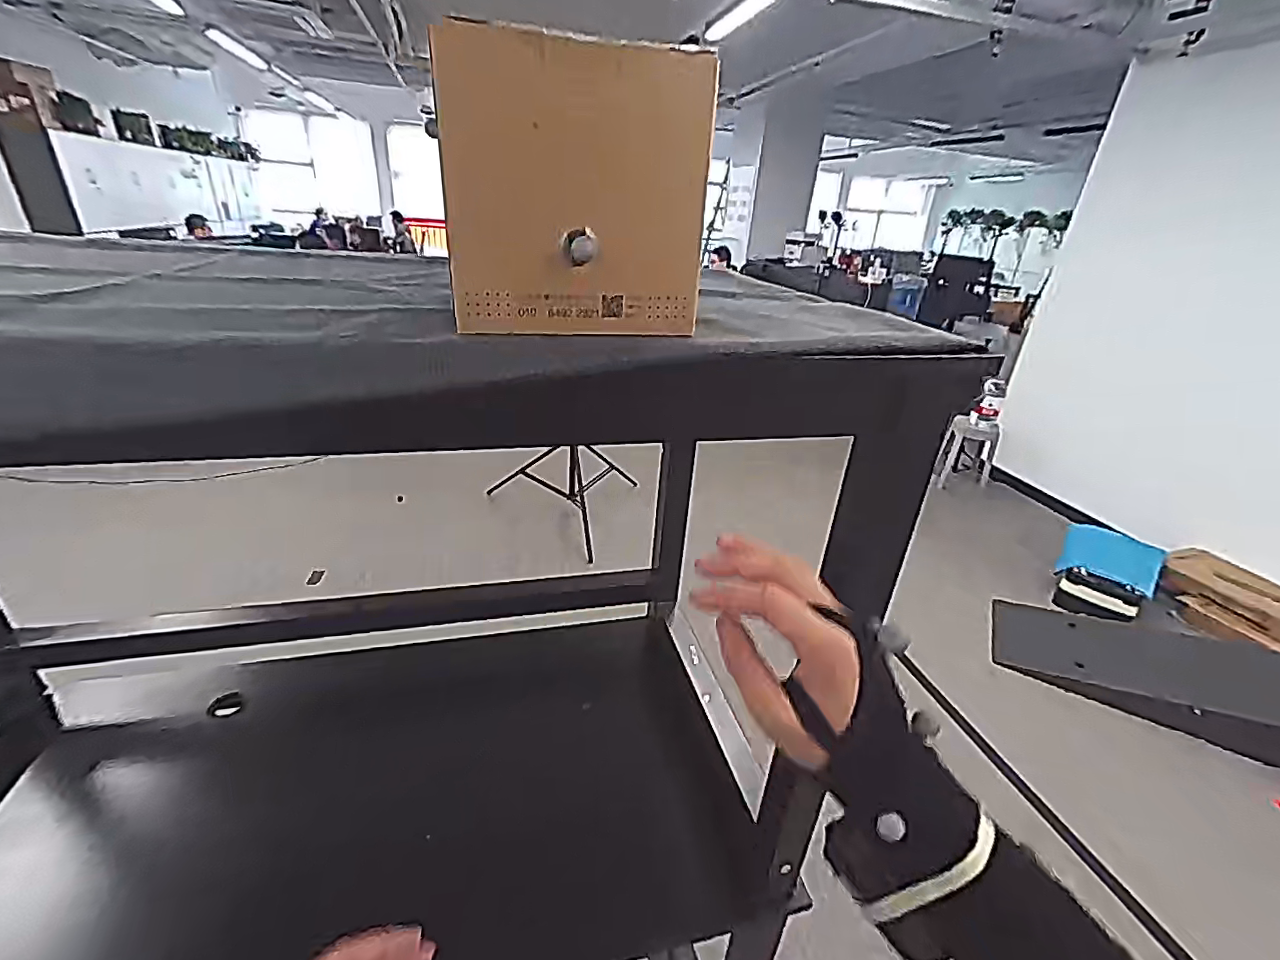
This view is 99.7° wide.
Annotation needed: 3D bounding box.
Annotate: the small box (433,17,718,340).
[{"bbox_3d":[-0.054,-0.209,0.412,0.168,0.176,0.179,-4,26,-13],"label":"small box"}]
